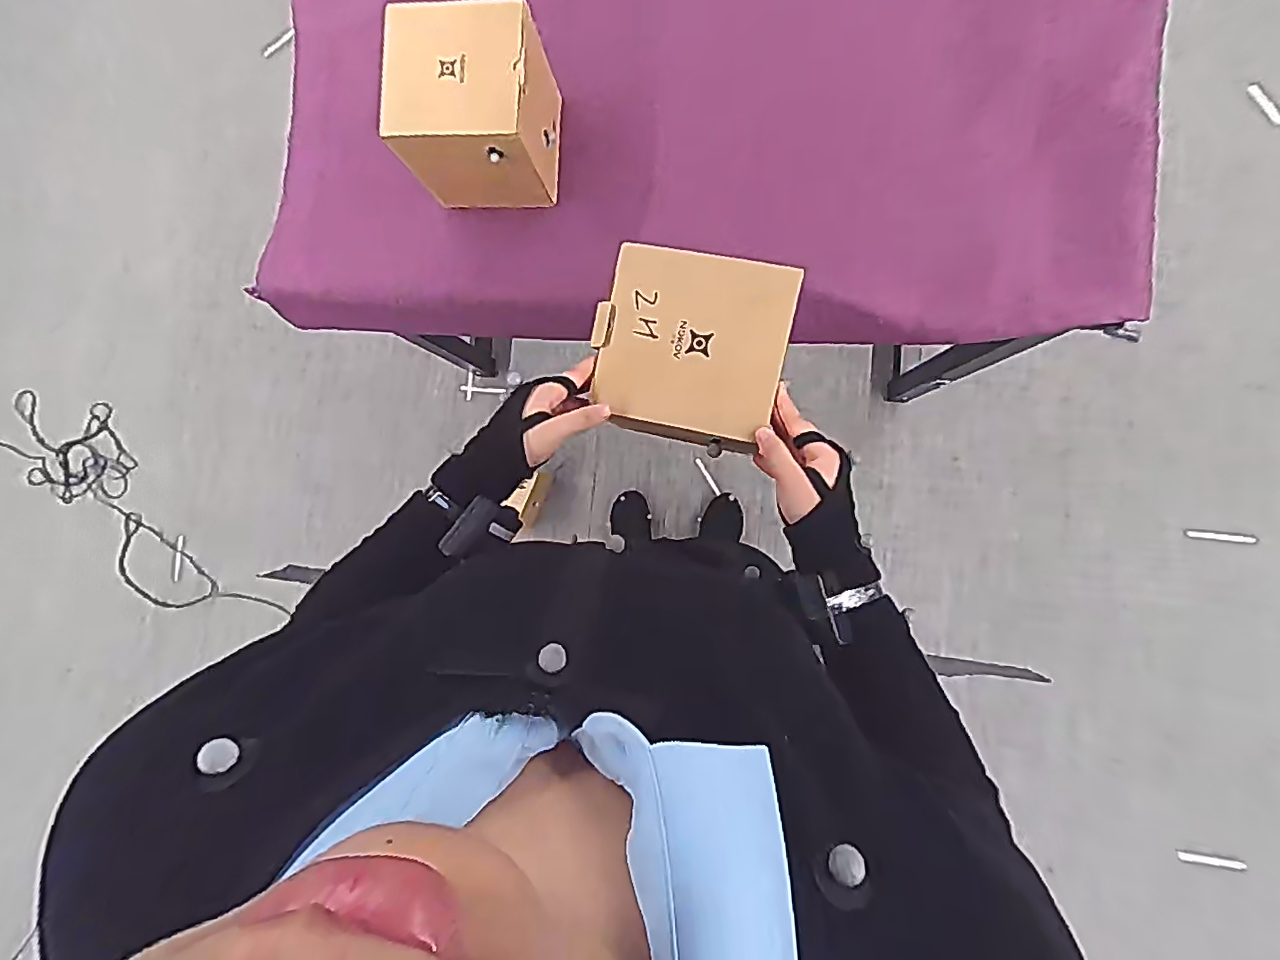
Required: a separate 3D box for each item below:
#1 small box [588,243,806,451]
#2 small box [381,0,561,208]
[{"bbox_3d":[0.063,-0.128,0.582,0.179,0.176,0.168,12,91,10],"label":"small box"},{"bbox_3d":[-0.214,-0.486,0.724,0.179,0.176,0.168,2,89,5],"label":"small box"}]
